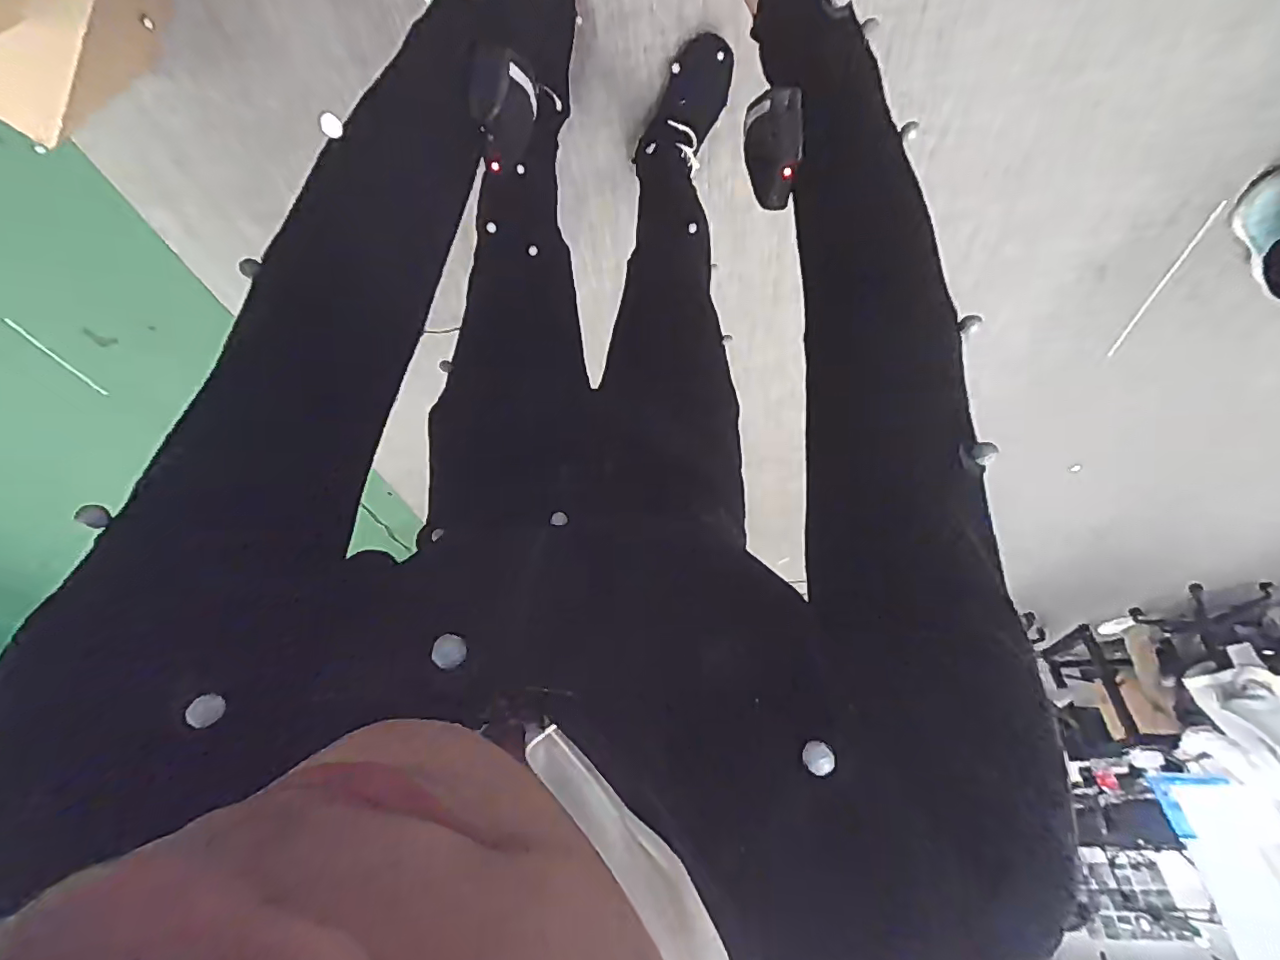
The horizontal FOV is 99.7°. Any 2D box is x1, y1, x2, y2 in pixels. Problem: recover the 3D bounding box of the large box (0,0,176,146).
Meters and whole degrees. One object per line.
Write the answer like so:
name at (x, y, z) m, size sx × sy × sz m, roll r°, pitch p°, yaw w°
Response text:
large box at (-0.894, -0.803, 0.761) m, size 0.408 × 0.320 × 0.320 m, roll -25°, pitch 137°, yaw 33°
